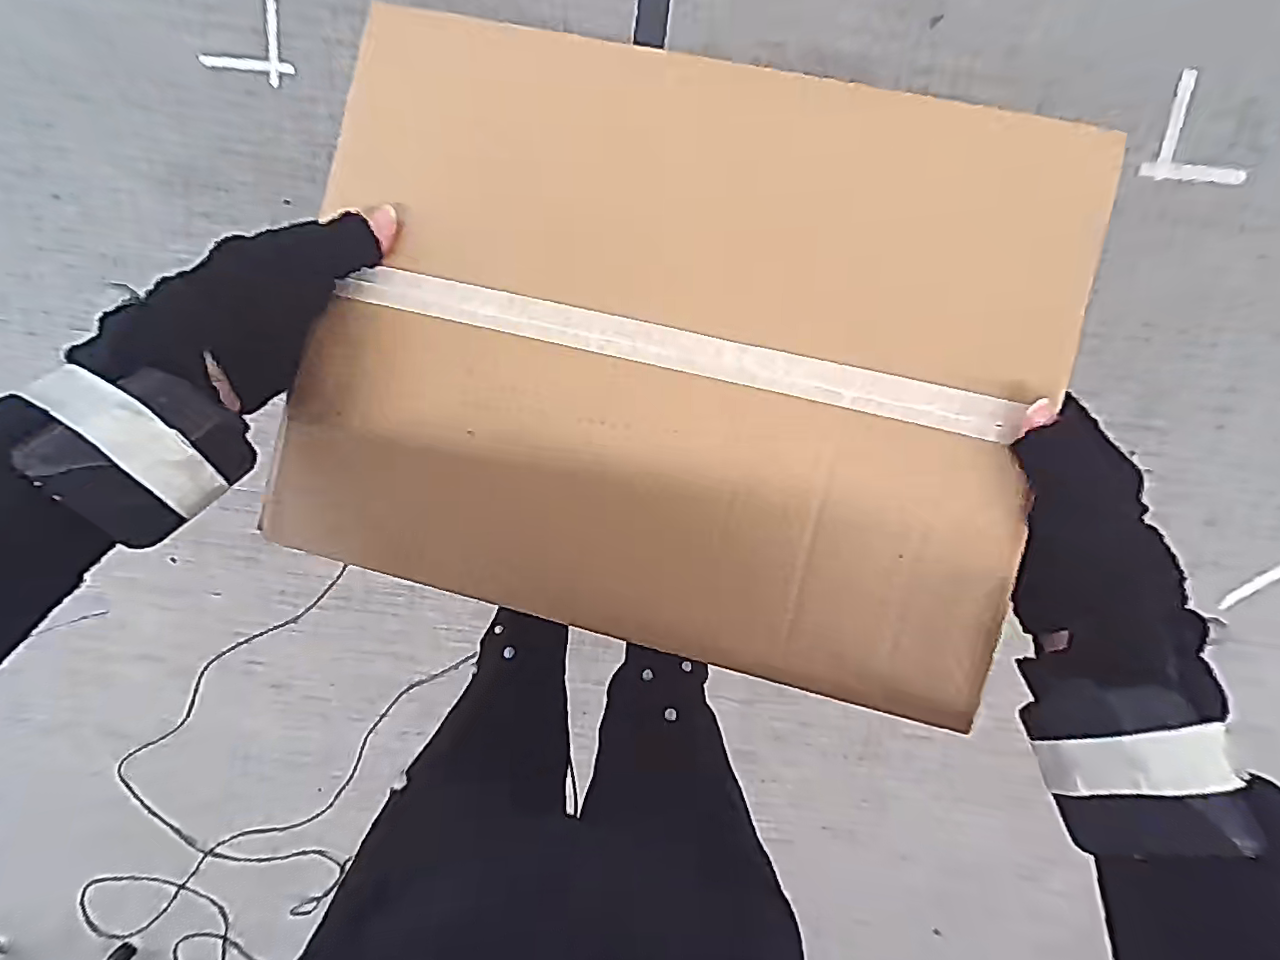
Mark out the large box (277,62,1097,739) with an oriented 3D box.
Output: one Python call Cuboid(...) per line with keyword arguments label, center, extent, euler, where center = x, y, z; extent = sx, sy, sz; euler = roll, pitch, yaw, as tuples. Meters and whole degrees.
Cuboid(label="large box", center=(0.023, -0.053, 0.444), extent=(0.408, 0.320, 0.320), euler=(13, 92, 5))
